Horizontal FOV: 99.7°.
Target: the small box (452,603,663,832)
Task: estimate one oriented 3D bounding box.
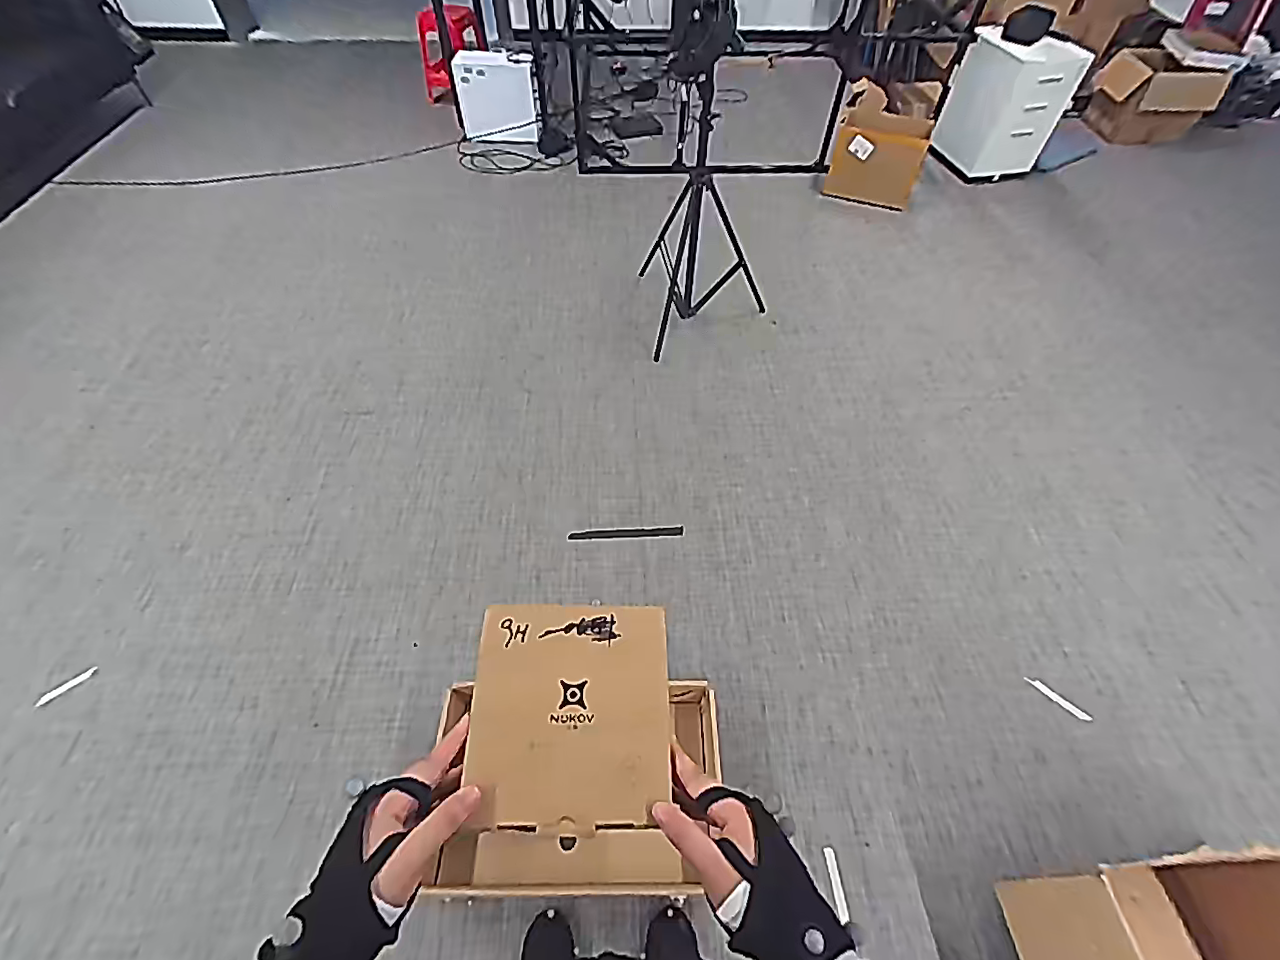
[{"bbox_3d":[-0.067,0.229,0.521,0.168,0.176,0.179,2,59,-4],"label":"small box"}]
